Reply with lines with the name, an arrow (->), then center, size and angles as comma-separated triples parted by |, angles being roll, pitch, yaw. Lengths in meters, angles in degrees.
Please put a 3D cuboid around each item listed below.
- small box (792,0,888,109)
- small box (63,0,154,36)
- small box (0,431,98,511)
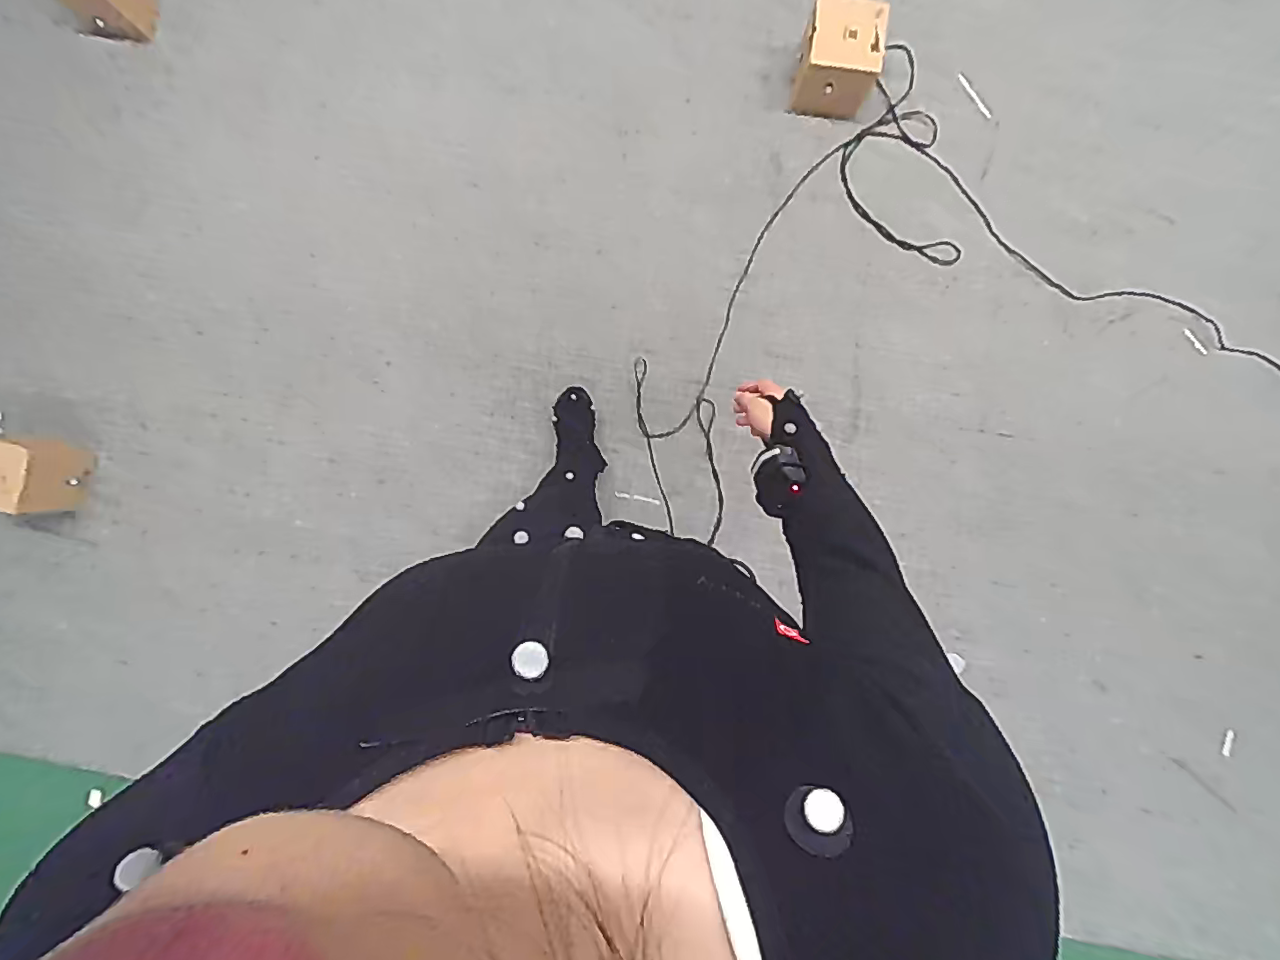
small box -> 0.489, -1.065, 1.349 | 0.179, 0.176, 0.168 | 7, 92, 1
small box -> -1.374, -1.281, 1.359 | 0.168, 0.176, 0.179 | 11, 92, 0
small box -> -1.572, -0.025, 1.386 | 0.179, 0.176, 0.168 | 15, 92, 0
